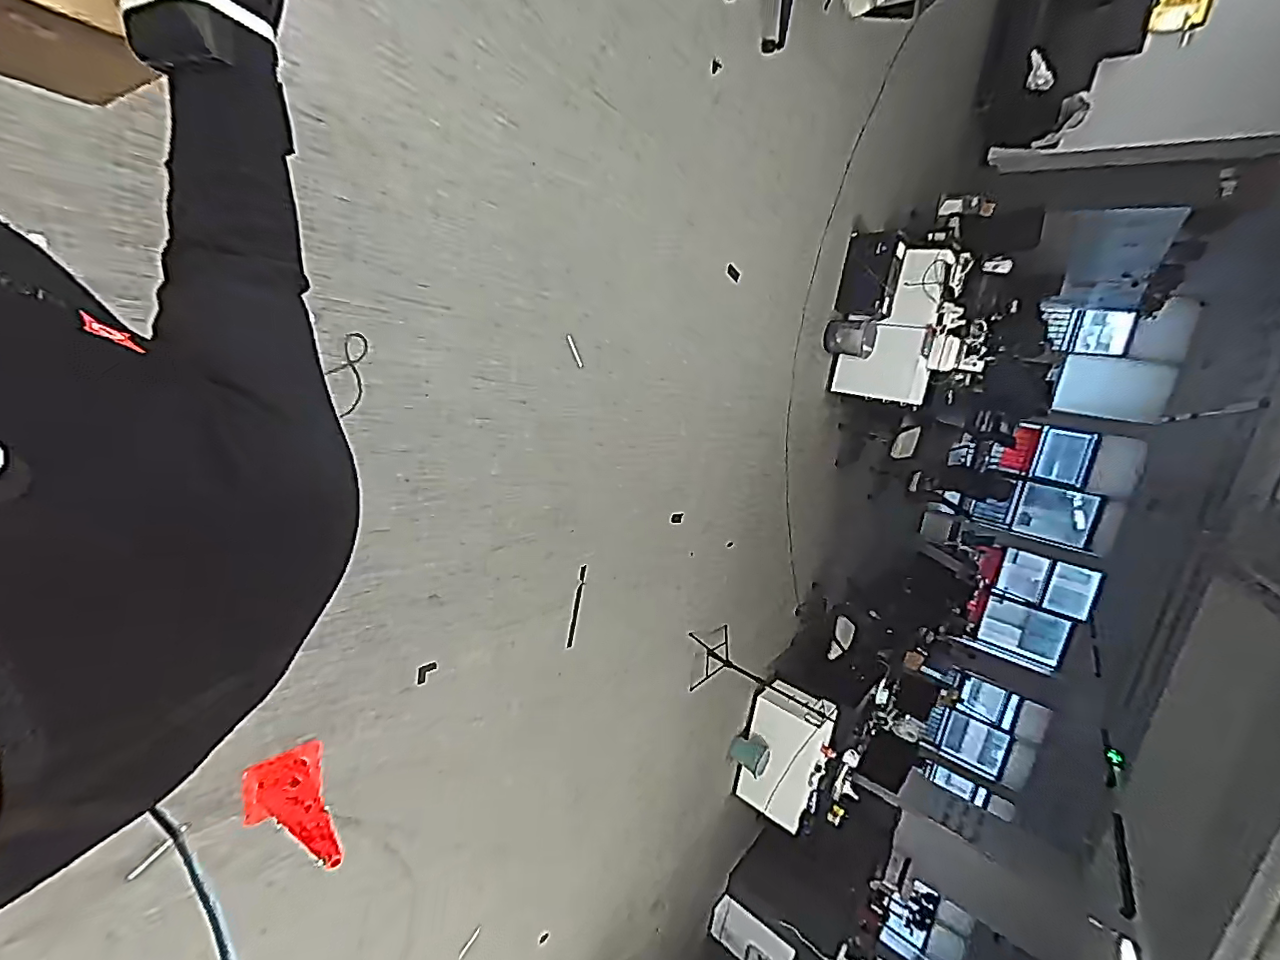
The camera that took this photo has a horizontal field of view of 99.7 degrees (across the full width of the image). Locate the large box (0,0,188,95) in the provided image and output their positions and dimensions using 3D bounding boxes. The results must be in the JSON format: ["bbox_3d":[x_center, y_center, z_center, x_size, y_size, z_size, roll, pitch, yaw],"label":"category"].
[{"bbox_3d":[-0.533,-0.468,0.272,0.408,0.320,0.320,-9,115,-52],"label":"large box"}]

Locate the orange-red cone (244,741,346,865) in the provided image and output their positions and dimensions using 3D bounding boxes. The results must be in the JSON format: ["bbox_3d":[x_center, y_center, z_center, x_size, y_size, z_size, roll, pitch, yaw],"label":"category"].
[{"bbox_3d":[-0.906,0.923,1.479,0.198,0.360,0.199,-9,111,-51],"label":"orange-red cone"}]
